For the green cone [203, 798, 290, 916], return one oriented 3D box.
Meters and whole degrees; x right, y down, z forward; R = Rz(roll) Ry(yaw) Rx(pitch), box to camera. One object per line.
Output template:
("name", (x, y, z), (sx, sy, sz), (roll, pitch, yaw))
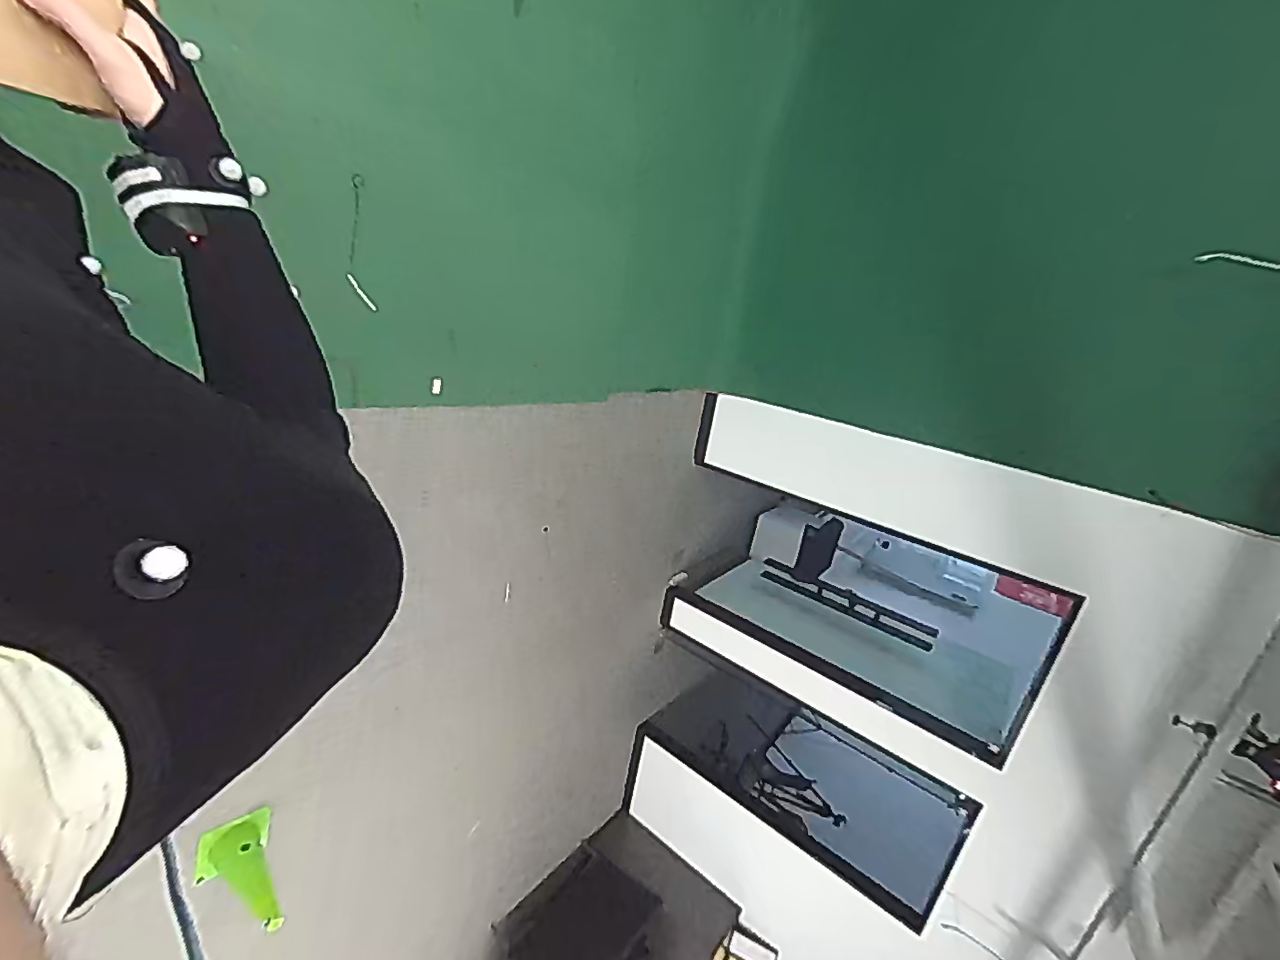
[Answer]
("green cone", (-1.220, 1.251, 1.736), (0.200, 0.368, 0.202), (-5, 112, -54))
